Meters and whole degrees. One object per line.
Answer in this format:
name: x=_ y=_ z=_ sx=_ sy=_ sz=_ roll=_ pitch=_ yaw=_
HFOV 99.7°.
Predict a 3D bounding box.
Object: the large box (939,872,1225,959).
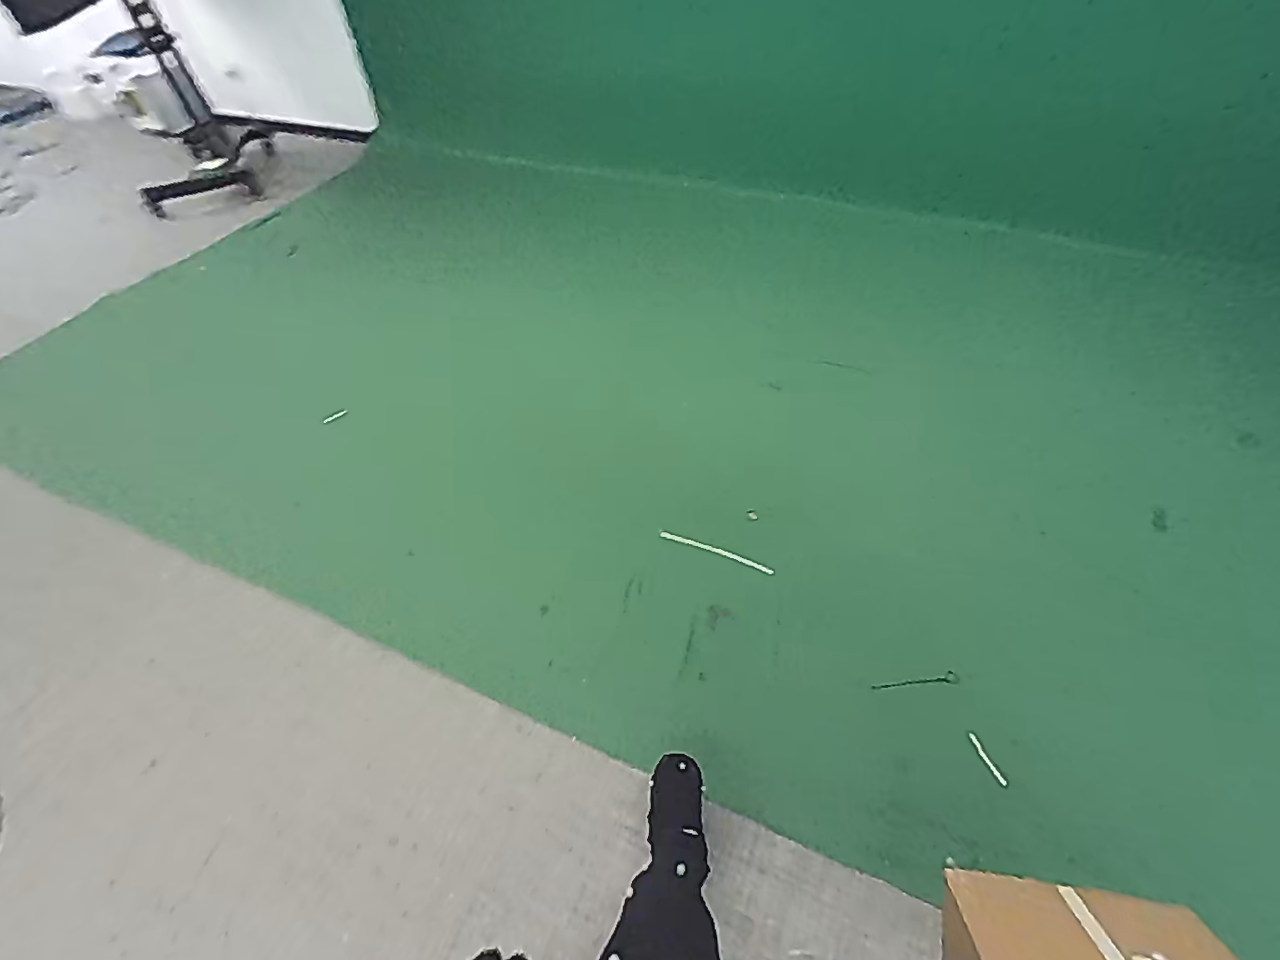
large box: x=0.561 y=0.752 z=0.602 sx=0.320 sy=0.408 sz=0.320 roll=2 pitch=90 yaw=14
